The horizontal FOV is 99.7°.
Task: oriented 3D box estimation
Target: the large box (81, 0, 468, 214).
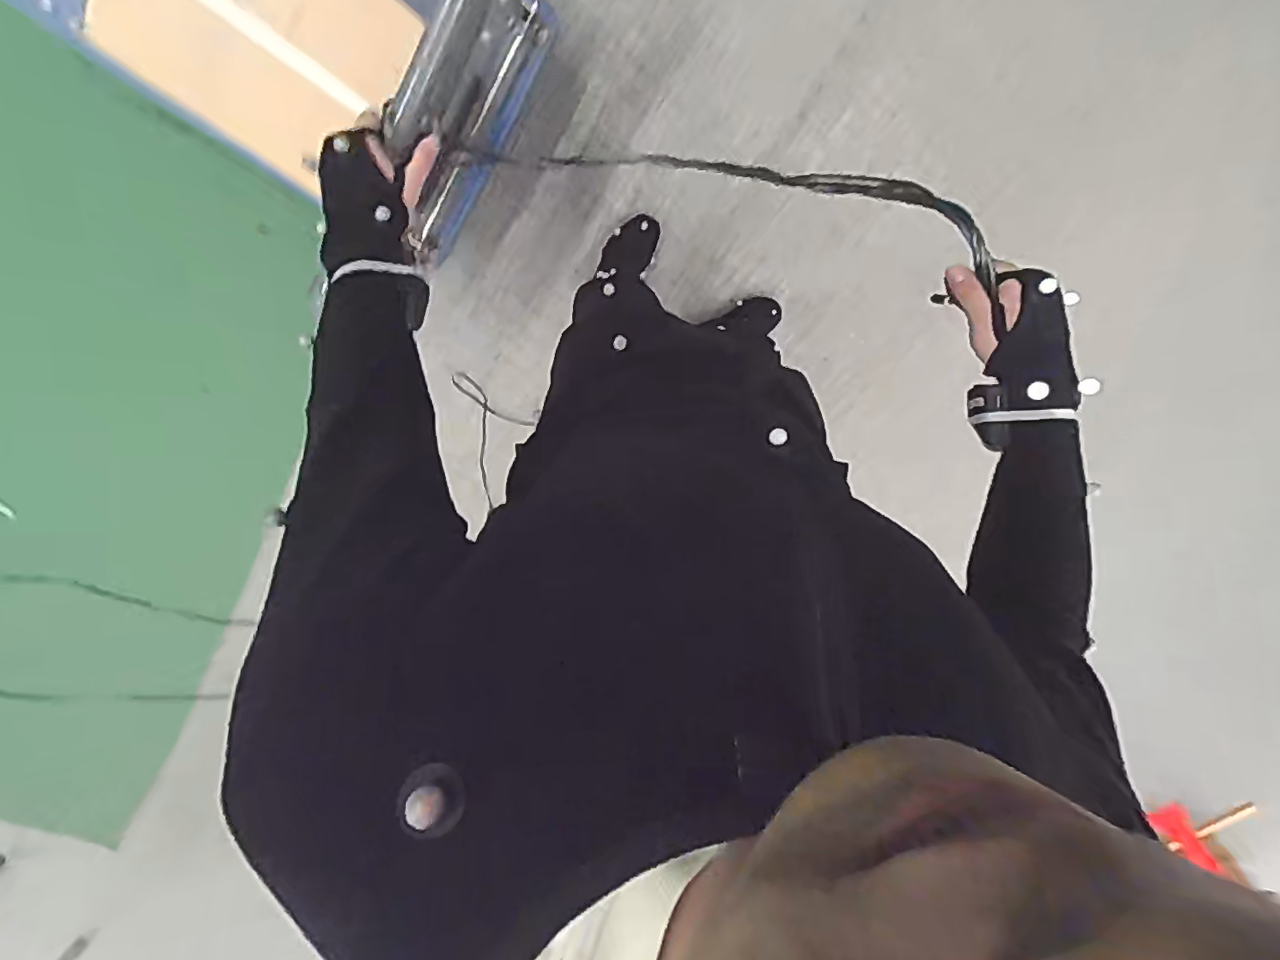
[{"bbox_3d":[-0.571,-0.719,0.921,0.408,0.320,0.320,32,111,-19],"label":"large box"}]
